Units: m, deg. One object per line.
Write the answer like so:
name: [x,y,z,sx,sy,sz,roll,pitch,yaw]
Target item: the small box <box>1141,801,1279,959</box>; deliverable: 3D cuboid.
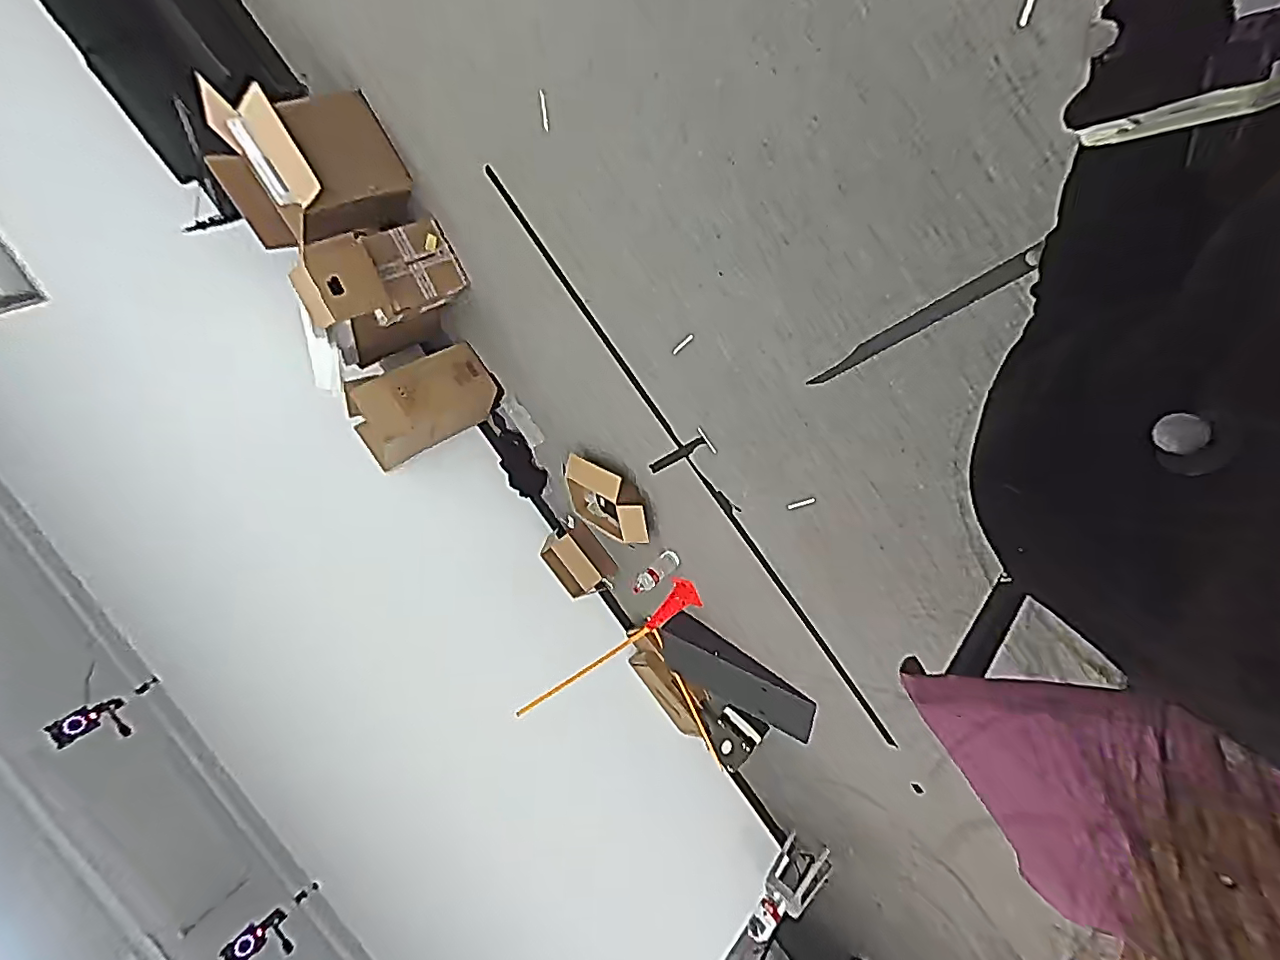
small box: [0.865,0.595,0.758,0.168,0.176,0.179,57,151,-4]
